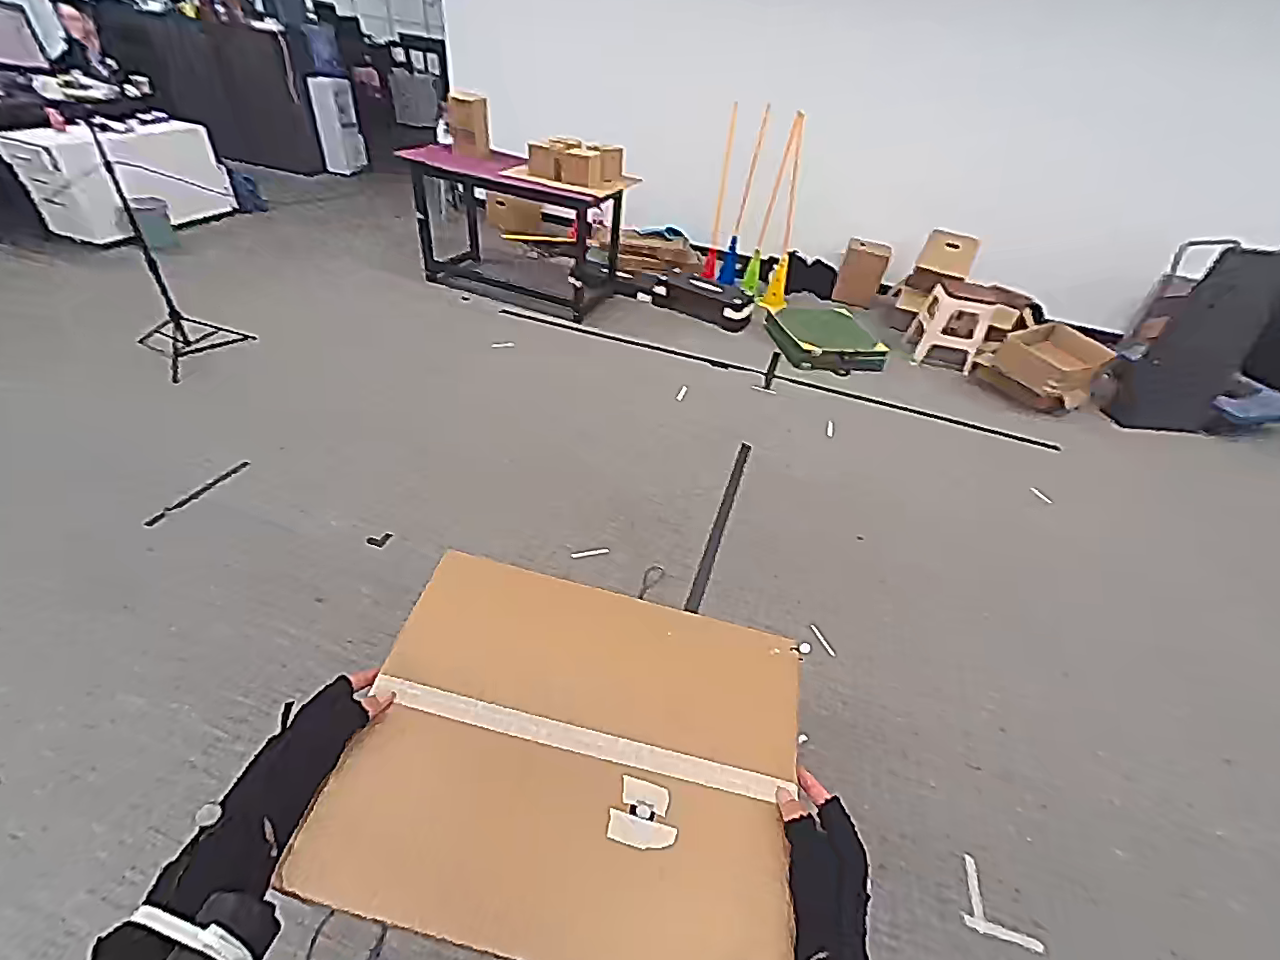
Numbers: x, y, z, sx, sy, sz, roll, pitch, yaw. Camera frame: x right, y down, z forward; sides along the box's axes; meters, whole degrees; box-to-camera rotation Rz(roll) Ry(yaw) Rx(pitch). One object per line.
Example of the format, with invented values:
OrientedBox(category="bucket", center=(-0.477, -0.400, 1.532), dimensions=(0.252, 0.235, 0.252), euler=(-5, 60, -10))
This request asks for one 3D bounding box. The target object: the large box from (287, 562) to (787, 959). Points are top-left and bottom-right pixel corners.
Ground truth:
OrientedBox(category="large box", center=(-0.079, 0.344, 0.623), dimensions=(0.408, 0.320, 0.320), euler=(14, 50, 1))
